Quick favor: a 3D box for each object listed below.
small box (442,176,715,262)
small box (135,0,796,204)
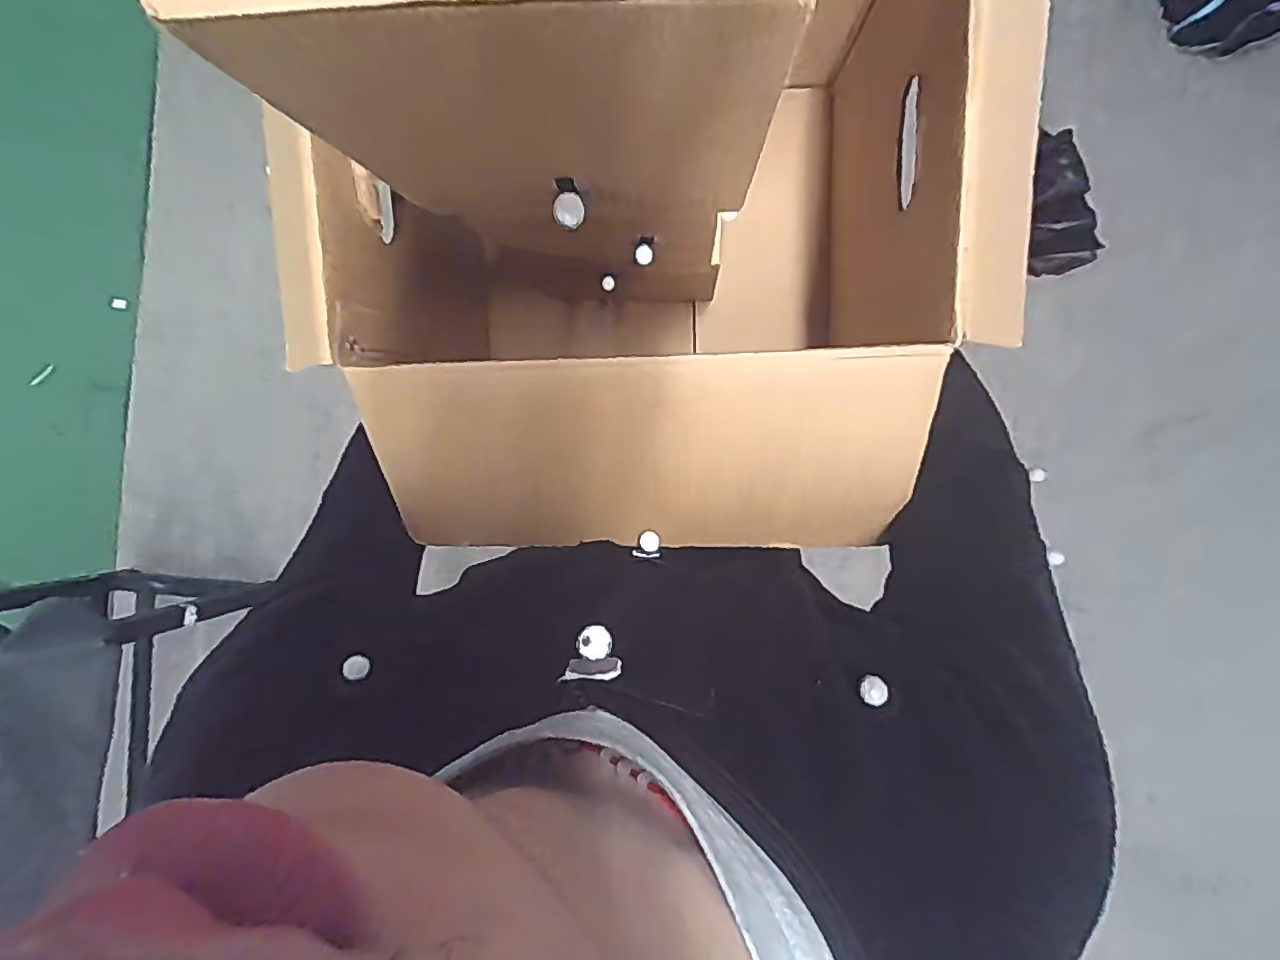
[{"bbox_3d":[-0.029,-0.252,0.350,0.168,0.176,0.179,5,99,4],"label":"small box"},{"bbox_3d":[-0.041,-0.213,0.192,0.179,0.176,0.168,2,100,4],"label":"small box"}]
